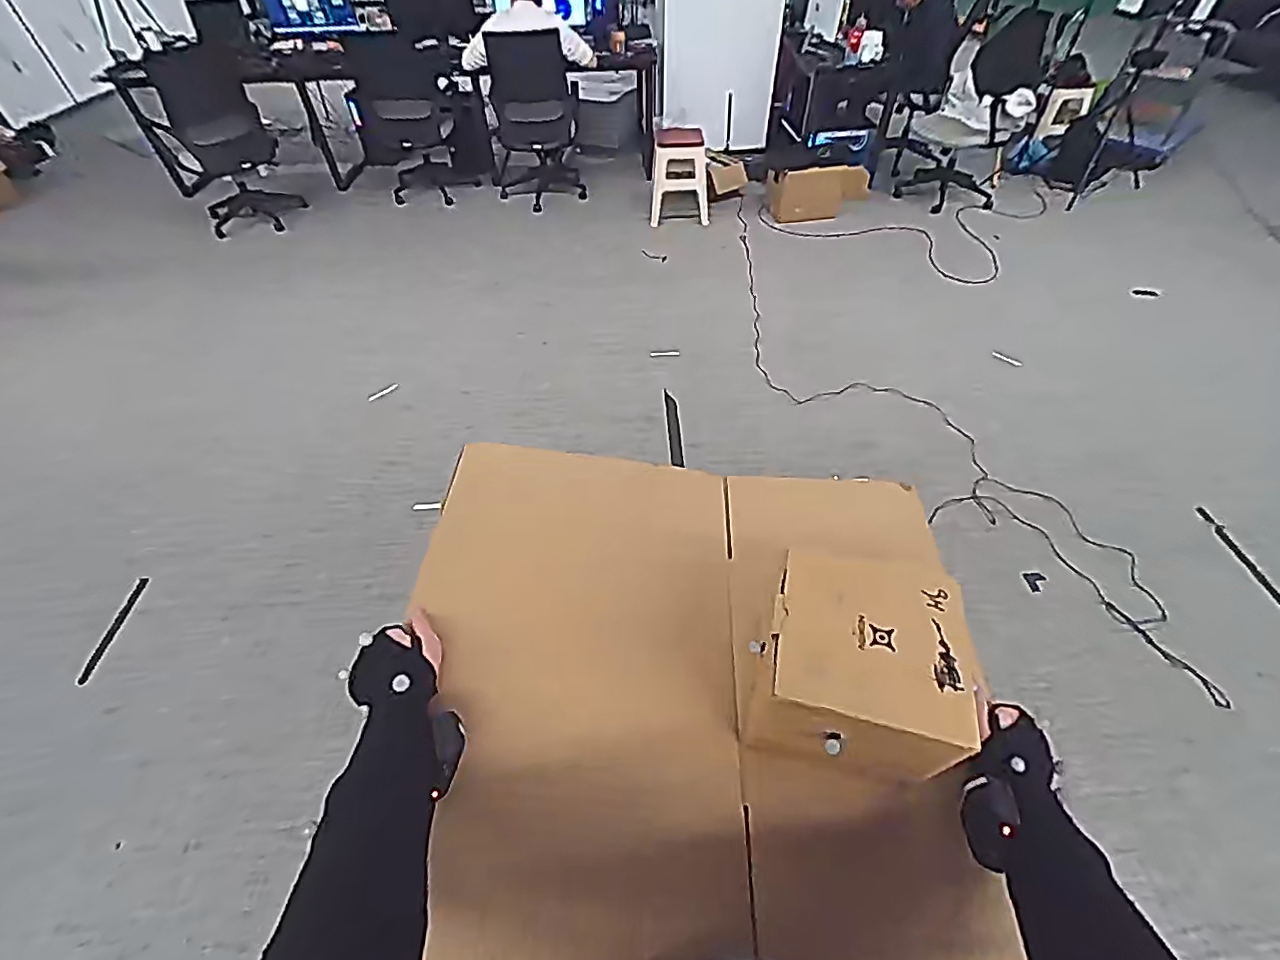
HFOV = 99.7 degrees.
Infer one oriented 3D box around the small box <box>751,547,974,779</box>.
[{"bbox_3d":[0.223,0.199,0.582,0.179,0.176,0.168,11,51,11],"label":"small box"}]
